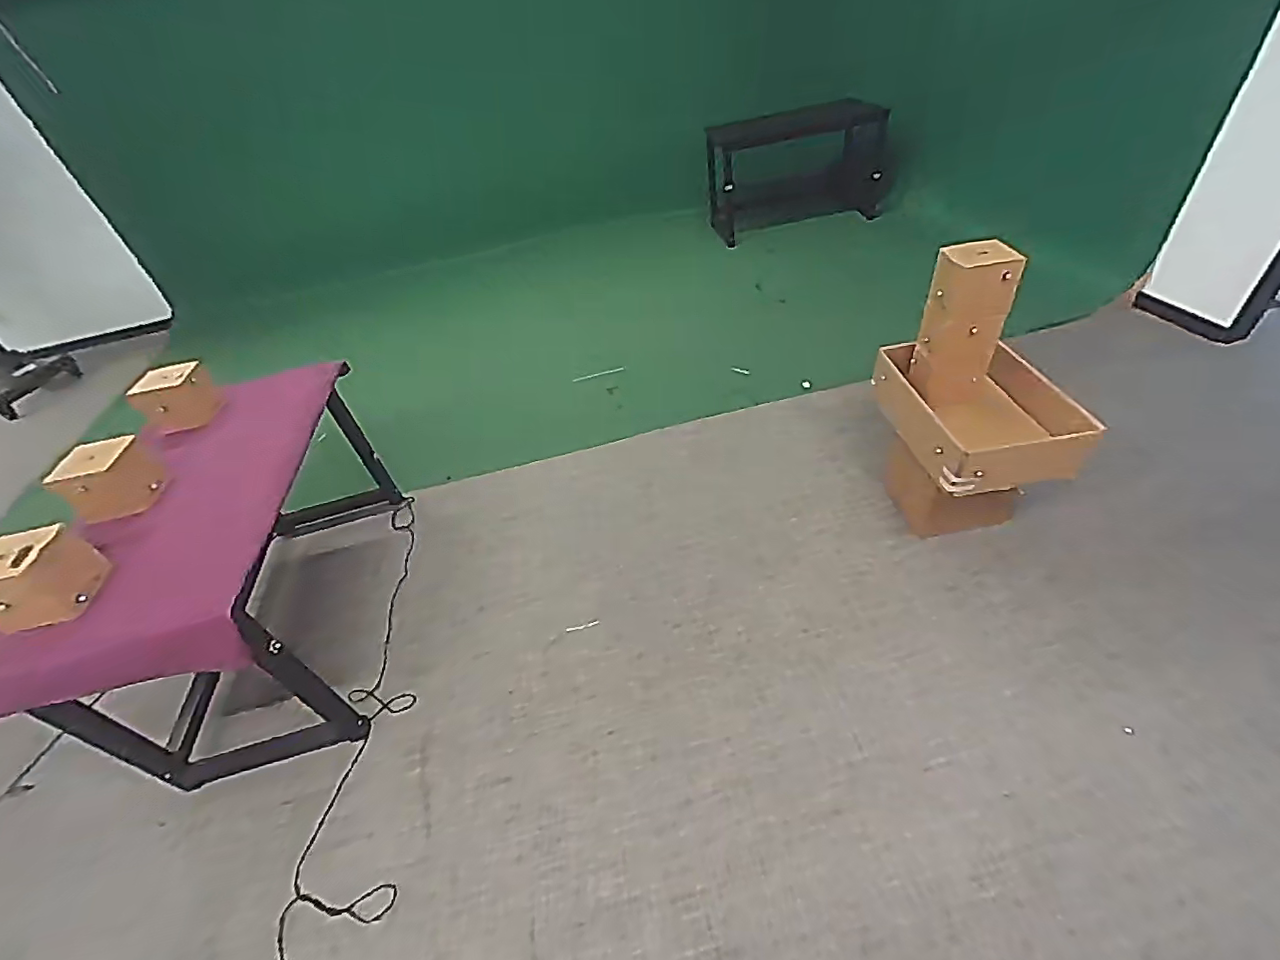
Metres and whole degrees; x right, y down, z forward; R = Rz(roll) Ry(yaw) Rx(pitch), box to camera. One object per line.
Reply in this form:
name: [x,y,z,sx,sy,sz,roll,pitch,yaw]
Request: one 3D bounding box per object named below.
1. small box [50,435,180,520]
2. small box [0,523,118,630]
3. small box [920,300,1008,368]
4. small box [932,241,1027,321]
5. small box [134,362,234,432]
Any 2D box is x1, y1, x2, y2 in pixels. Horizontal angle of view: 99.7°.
small box: [-1.523,-0.003,1.583,0.179,0.176,0.168,-12,43,-2]
small box: [-1.438,0.234,1.302,0.179,0.176,0.168,-13,42,-3]
small box: [1.053,-0.489,1.773,0.179,0.176,0.168,-8,42,3]
small box: [1.033,-0.611,1.663,0.179,0.176,0.168,-8,42,4]
small box: [-1.597,-0.288,1.905,0.179,0.176,0.168,-13,43,-2]
